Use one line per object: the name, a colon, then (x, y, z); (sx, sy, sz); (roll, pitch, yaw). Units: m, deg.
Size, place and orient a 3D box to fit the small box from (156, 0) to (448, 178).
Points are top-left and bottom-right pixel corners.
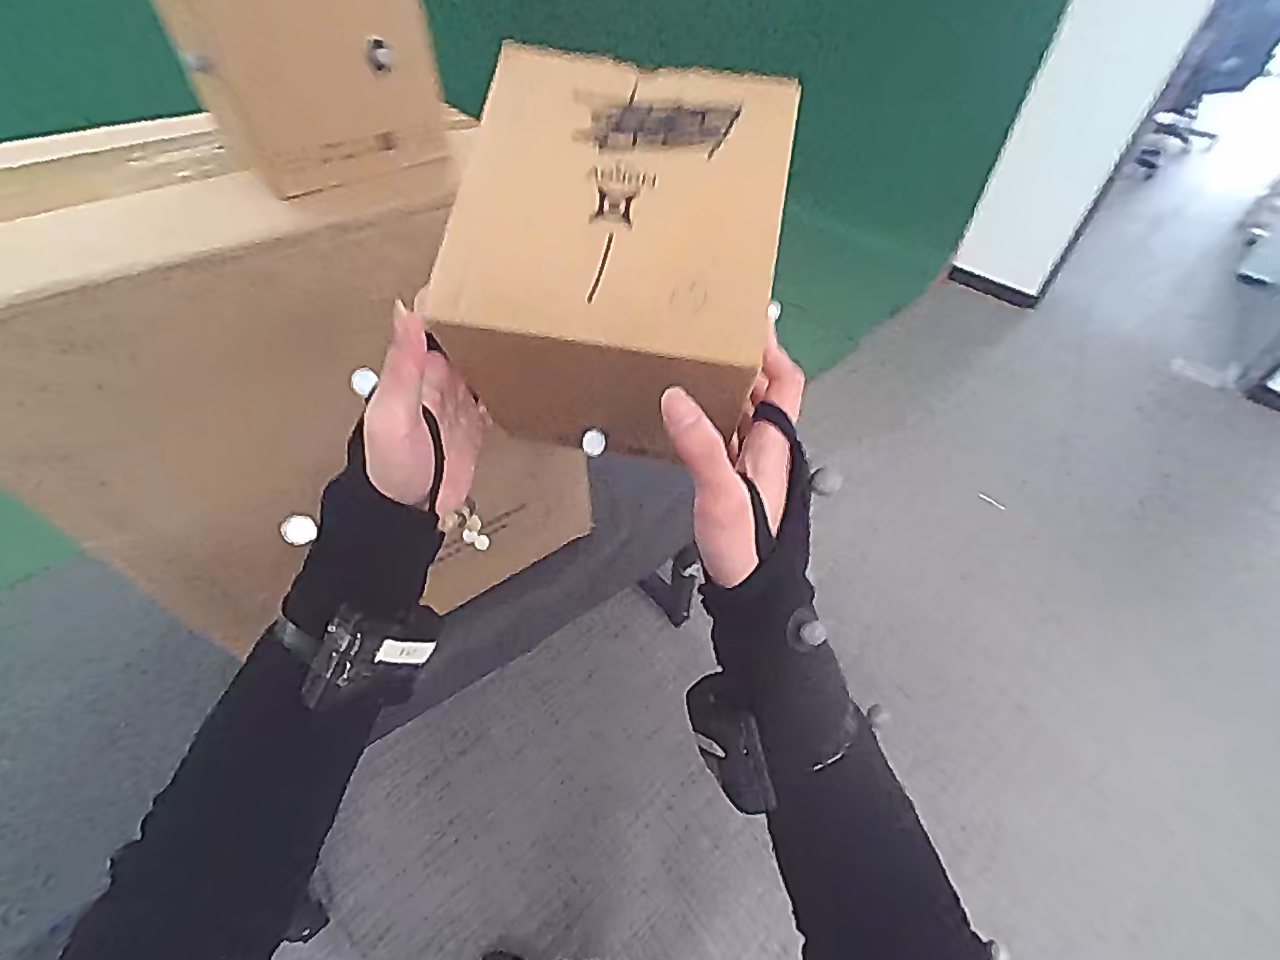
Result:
small box: (-0.288, -0.379, 0.461); (0.168, 0.176, 0.179); (-33, 60, -29)
